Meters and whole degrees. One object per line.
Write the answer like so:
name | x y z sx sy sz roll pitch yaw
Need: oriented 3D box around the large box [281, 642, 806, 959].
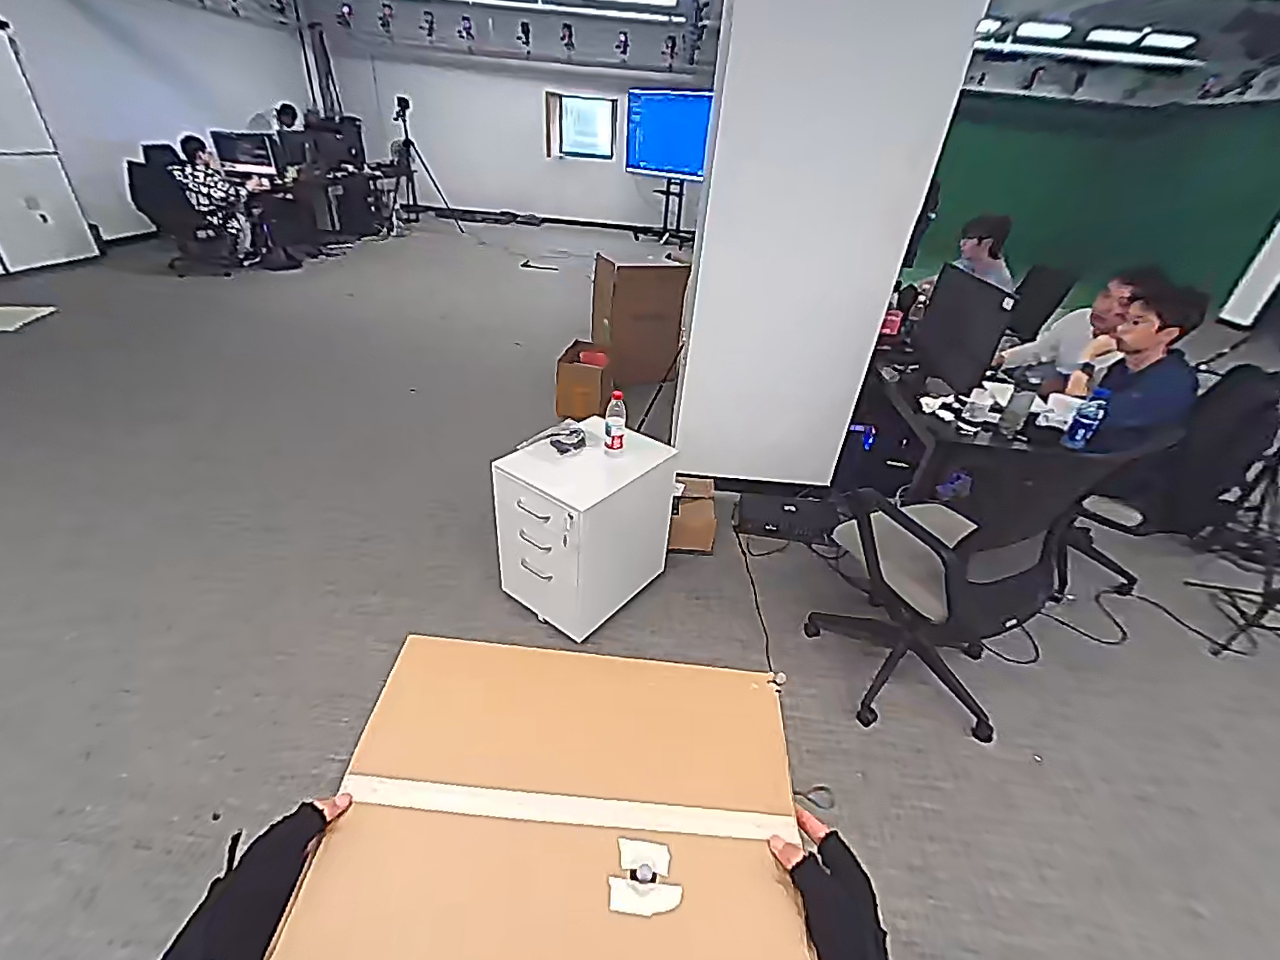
large box | -0.078 0.411 0.585 0.408 0.320 0.320 7 41 -1
